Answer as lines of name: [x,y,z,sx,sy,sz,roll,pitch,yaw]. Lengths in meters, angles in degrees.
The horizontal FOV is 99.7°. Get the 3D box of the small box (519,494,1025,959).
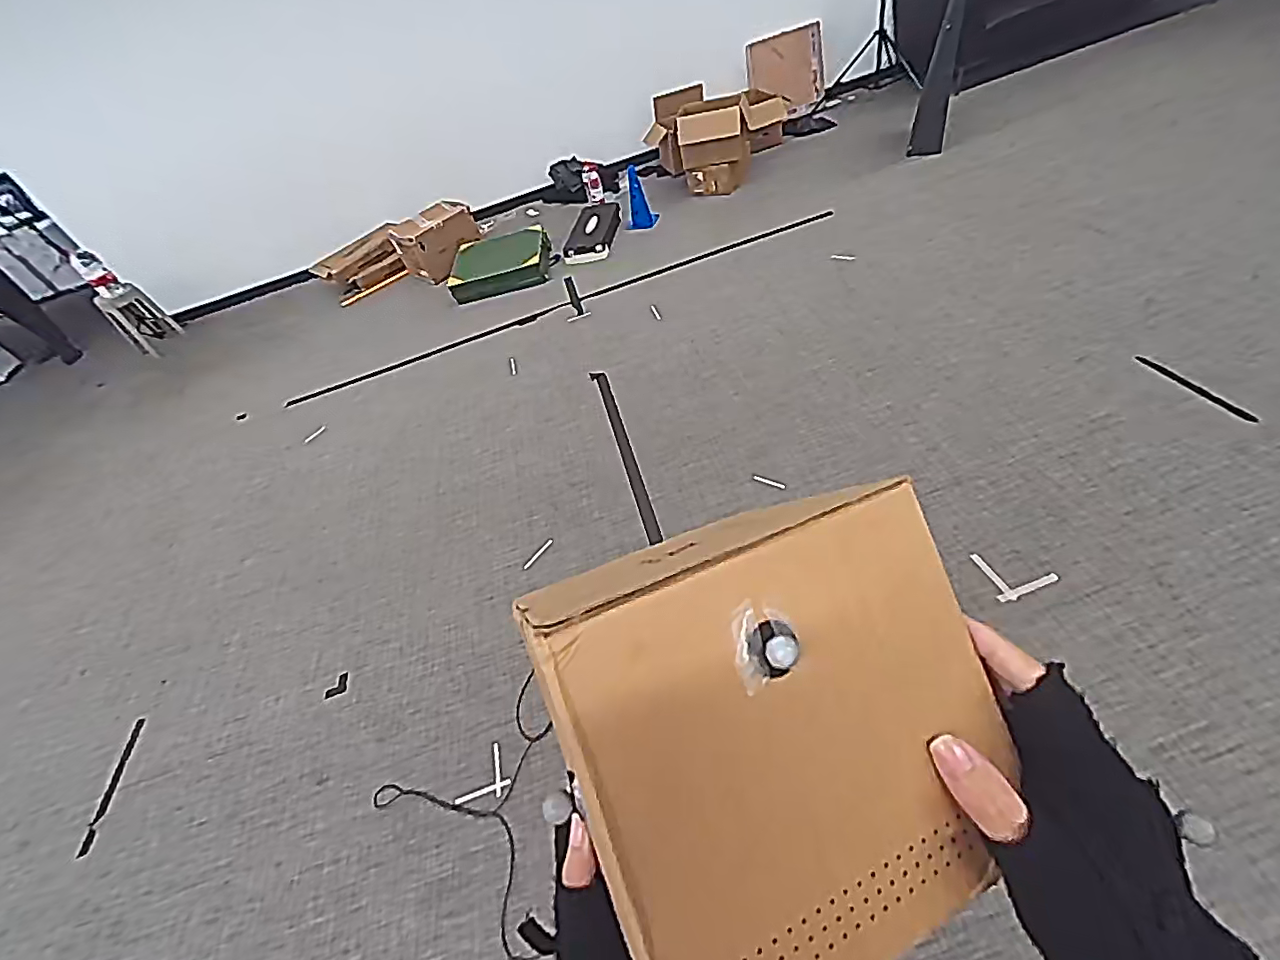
small box: [0.049,0.123,0.283,0.179,0.168,0.176,-19,87,-17]
